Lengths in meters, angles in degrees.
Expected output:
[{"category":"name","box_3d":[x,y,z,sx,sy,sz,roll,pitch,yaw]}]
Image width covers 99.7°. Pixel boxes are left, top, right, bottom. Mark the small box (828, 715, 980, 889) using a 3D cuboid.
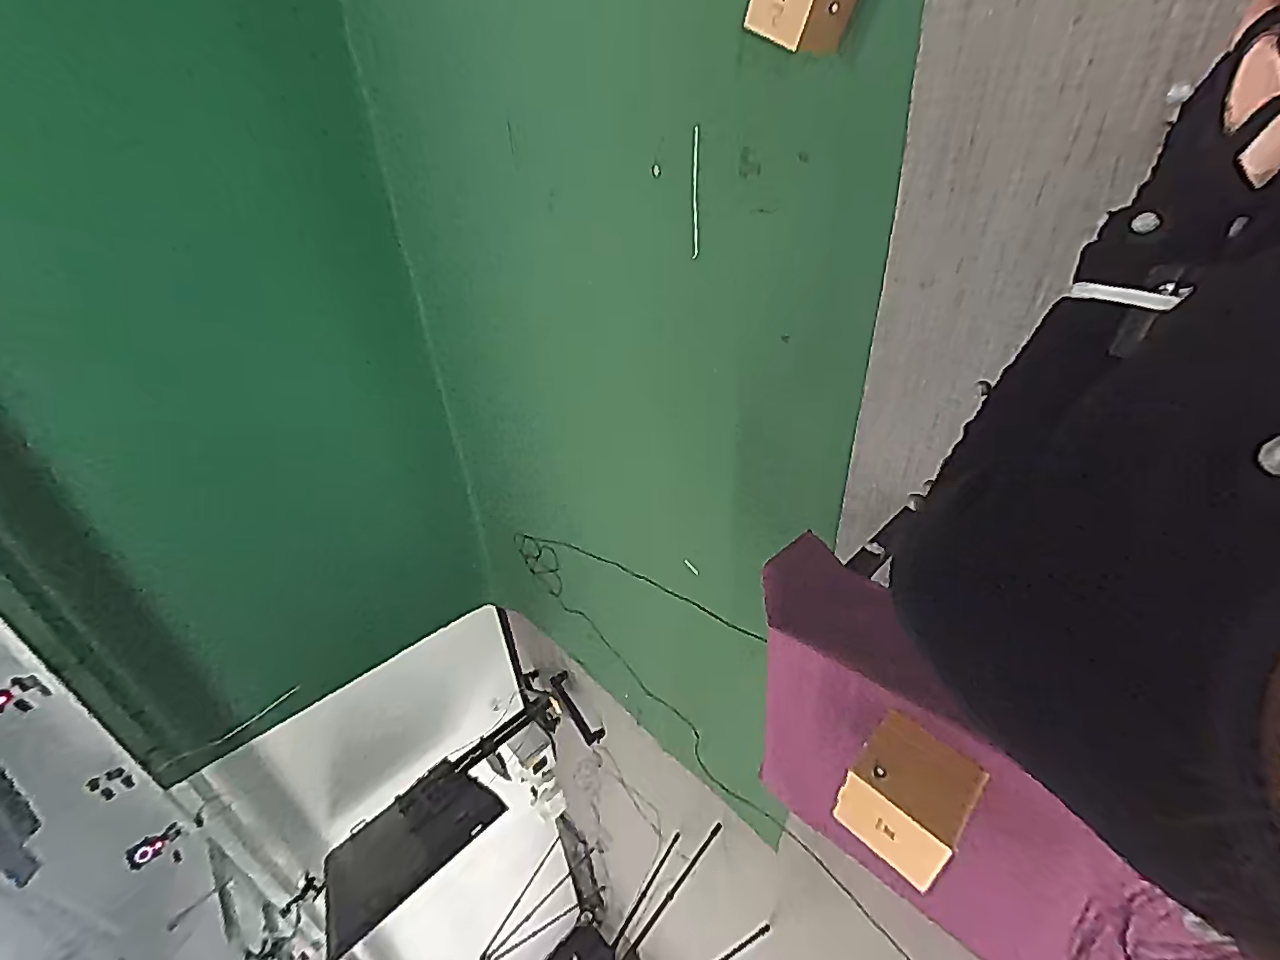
[{"category":"small box","box_3d":[0.474,0.569,0.974,0.179,0.176,0.168,30,135,37]}]
